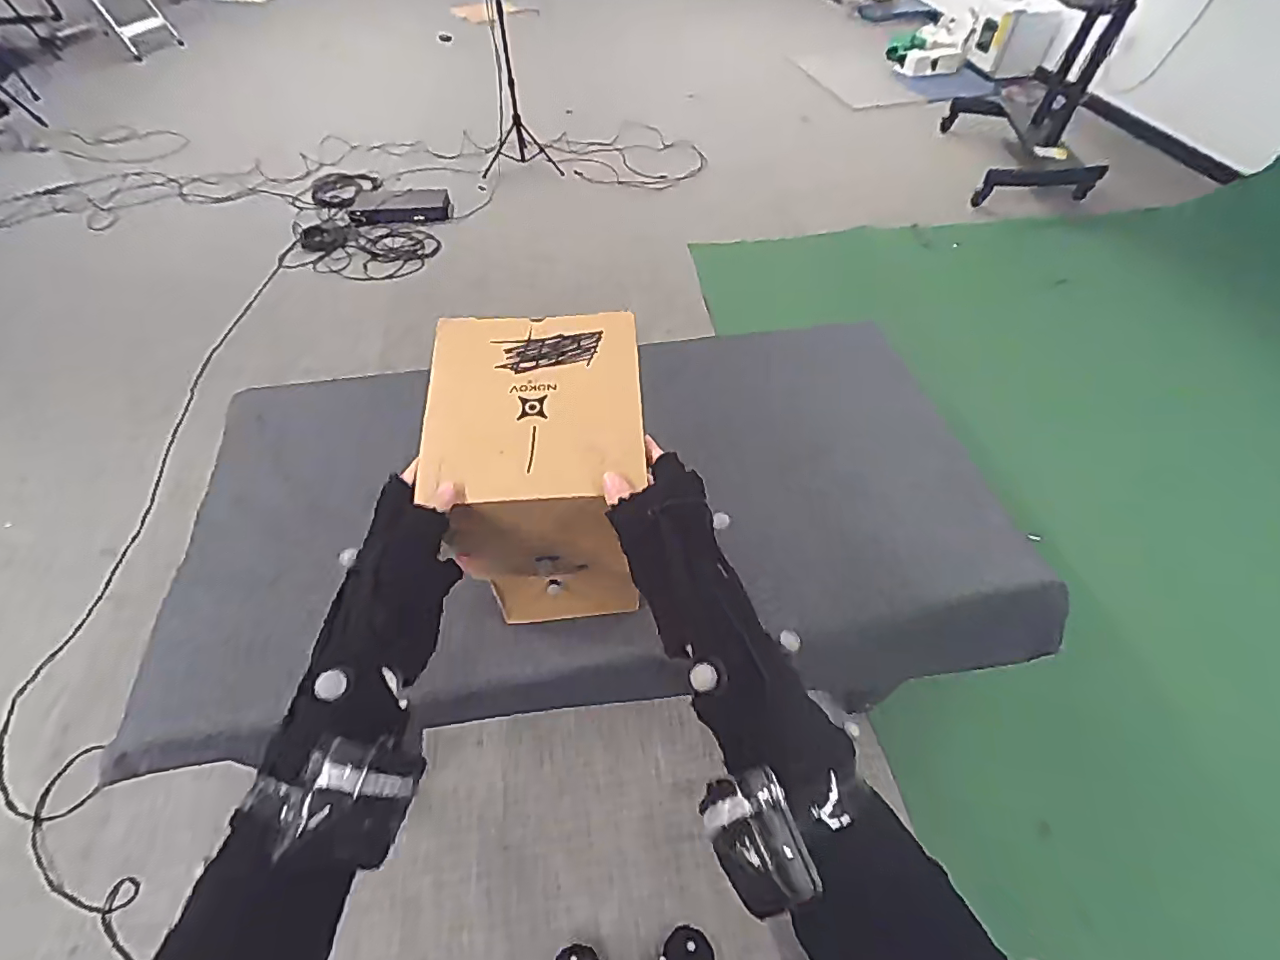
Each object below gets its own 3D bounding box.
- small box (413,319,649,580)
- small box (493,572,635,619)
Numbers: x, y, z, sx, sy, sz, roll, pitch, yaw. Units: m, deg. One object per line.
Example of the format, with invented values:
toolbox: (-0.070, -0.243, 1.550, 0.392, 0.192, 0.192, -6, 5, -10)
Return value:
small box: (-0.081, -0.021, 0.484, 0.168, 0.176, 0.179, -2, 63, -2)
small box: (-0.101, 0.070, 0.708, 0.179, 0.176, 0.168, -5, 52, -4)
